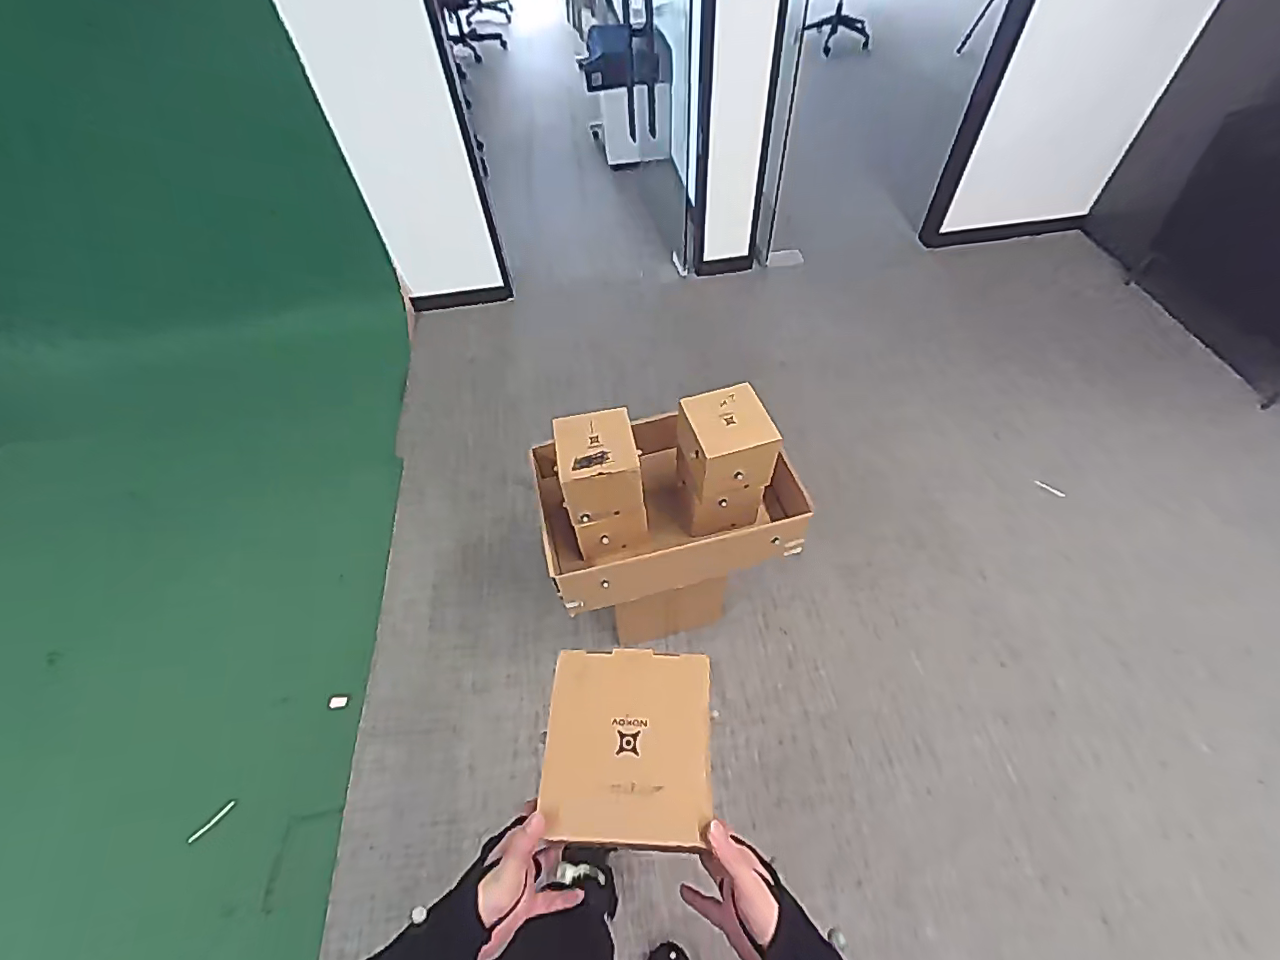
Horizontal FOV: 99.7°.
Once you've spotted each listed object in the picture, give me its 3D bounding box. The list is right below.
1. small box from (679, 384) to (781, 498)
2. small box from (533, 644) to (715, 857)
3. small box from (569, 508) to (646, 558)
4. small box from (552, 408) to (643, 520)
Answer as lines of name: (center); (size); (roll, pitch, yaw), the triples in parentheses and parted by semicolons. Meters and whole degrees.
small box: (0.189, -0.078, 1.192); (0.168, 0.176, 0.179); (-14, 55, -8)
small box: (-0.008, 0.297, 0.590); (0.168, 0.176, 0.179); (1, 53, 4)
small box: (-0.084, 0.070, 1.302); (0.168, 0.176, 0.179); (-13, 53, -6)
small box: (-0.089, -0.027, 1.171); (0.168, 0.176, 0.179); (-9, 53, -4)
